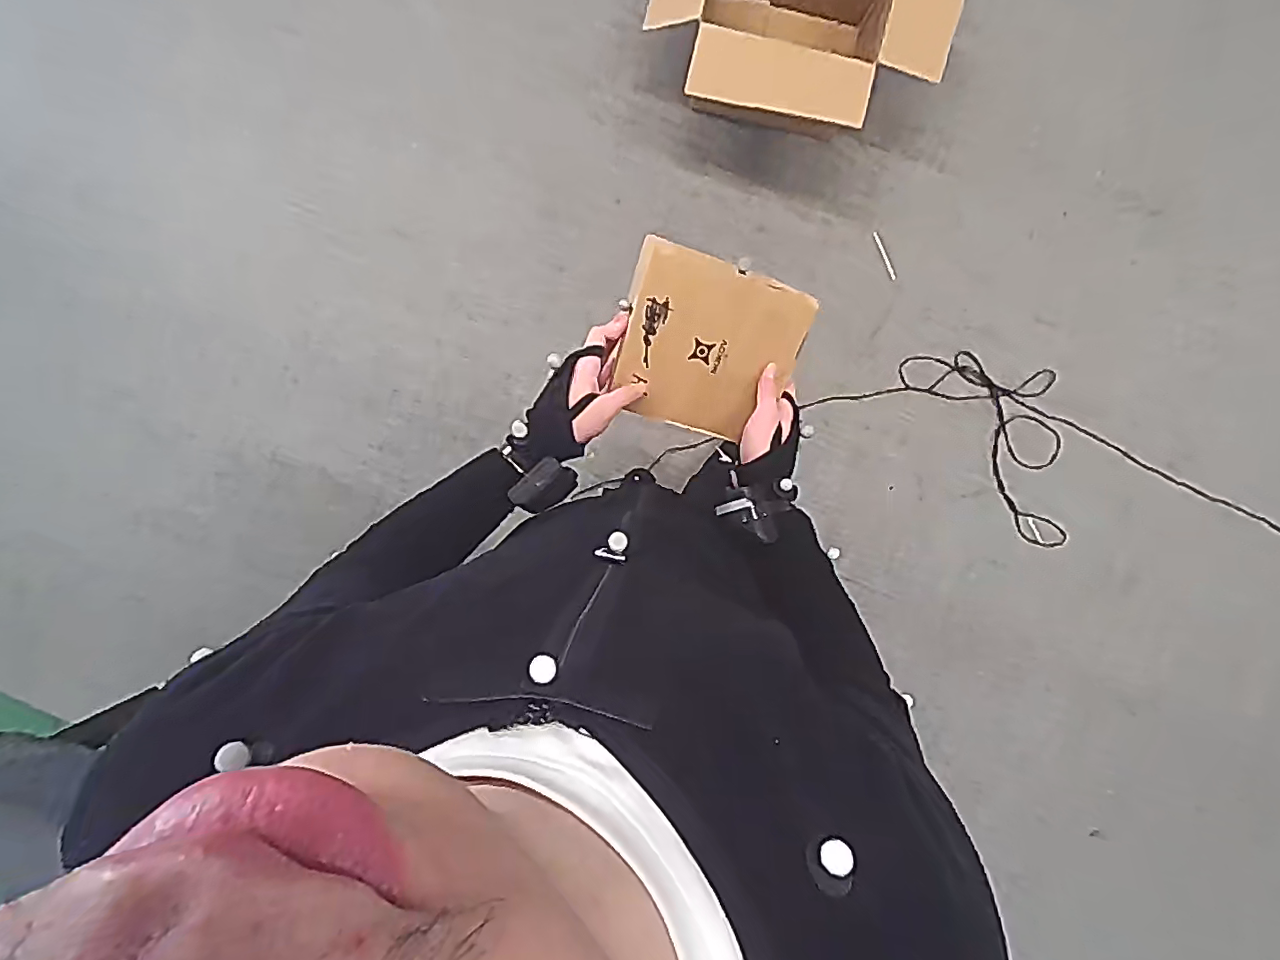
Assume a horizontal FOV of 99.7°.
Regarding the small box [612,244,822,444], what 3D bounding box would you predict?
[{"bbox_3d":[0.072,-0.165,0.626,0.179,0.176,0.168,15,114,-10],"label":"small box"}]
